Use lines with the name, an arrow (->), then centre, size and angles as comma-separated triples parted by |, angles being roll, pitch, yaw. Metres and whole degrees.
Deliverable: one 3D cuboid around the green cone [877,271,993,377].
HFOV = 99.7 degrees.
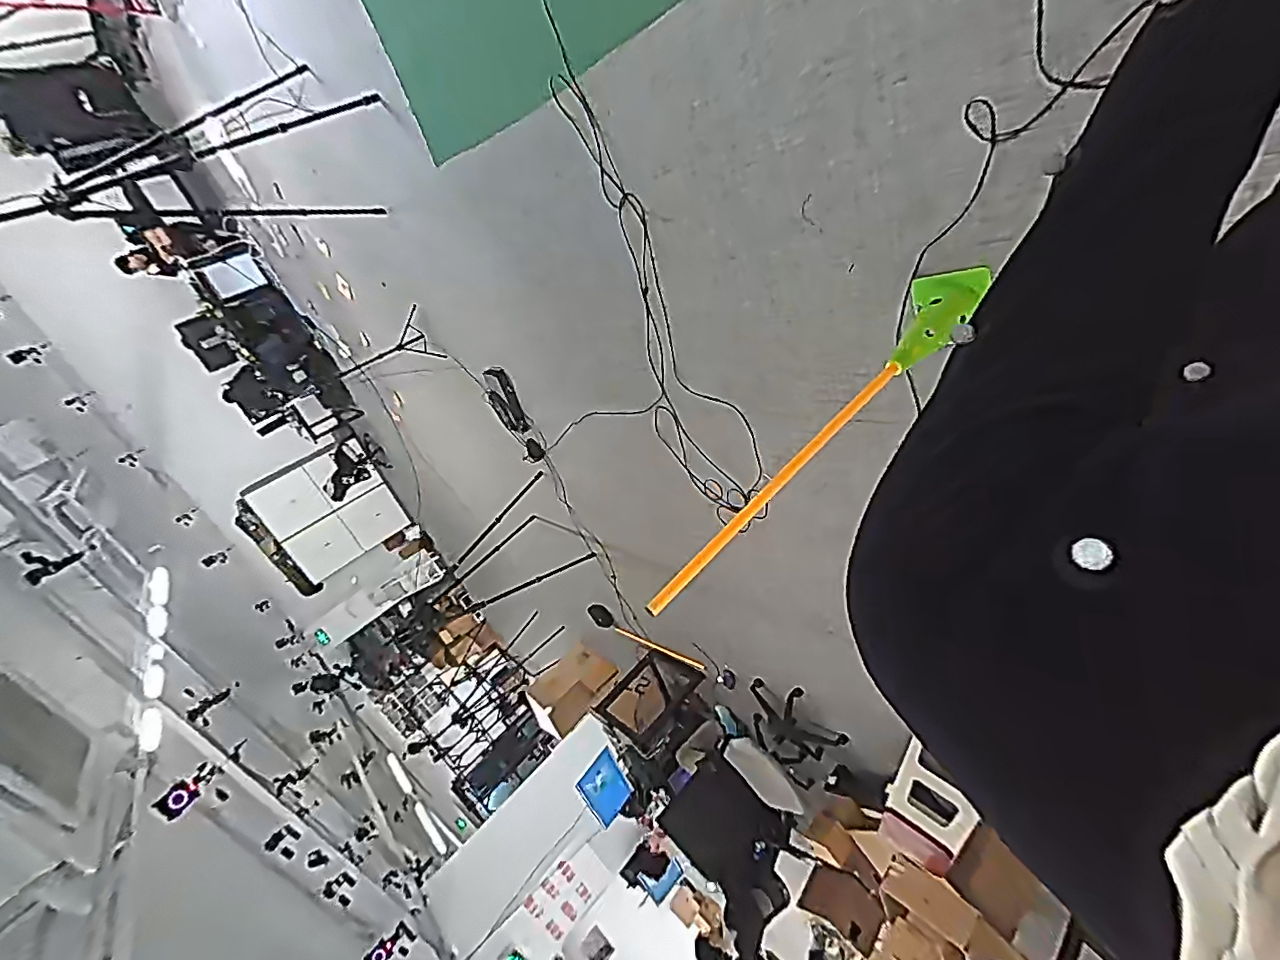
green cone -> 0.725, -0.370, 1.398 | 0.202, 0.368, 0.200 | 11, 131, 52
